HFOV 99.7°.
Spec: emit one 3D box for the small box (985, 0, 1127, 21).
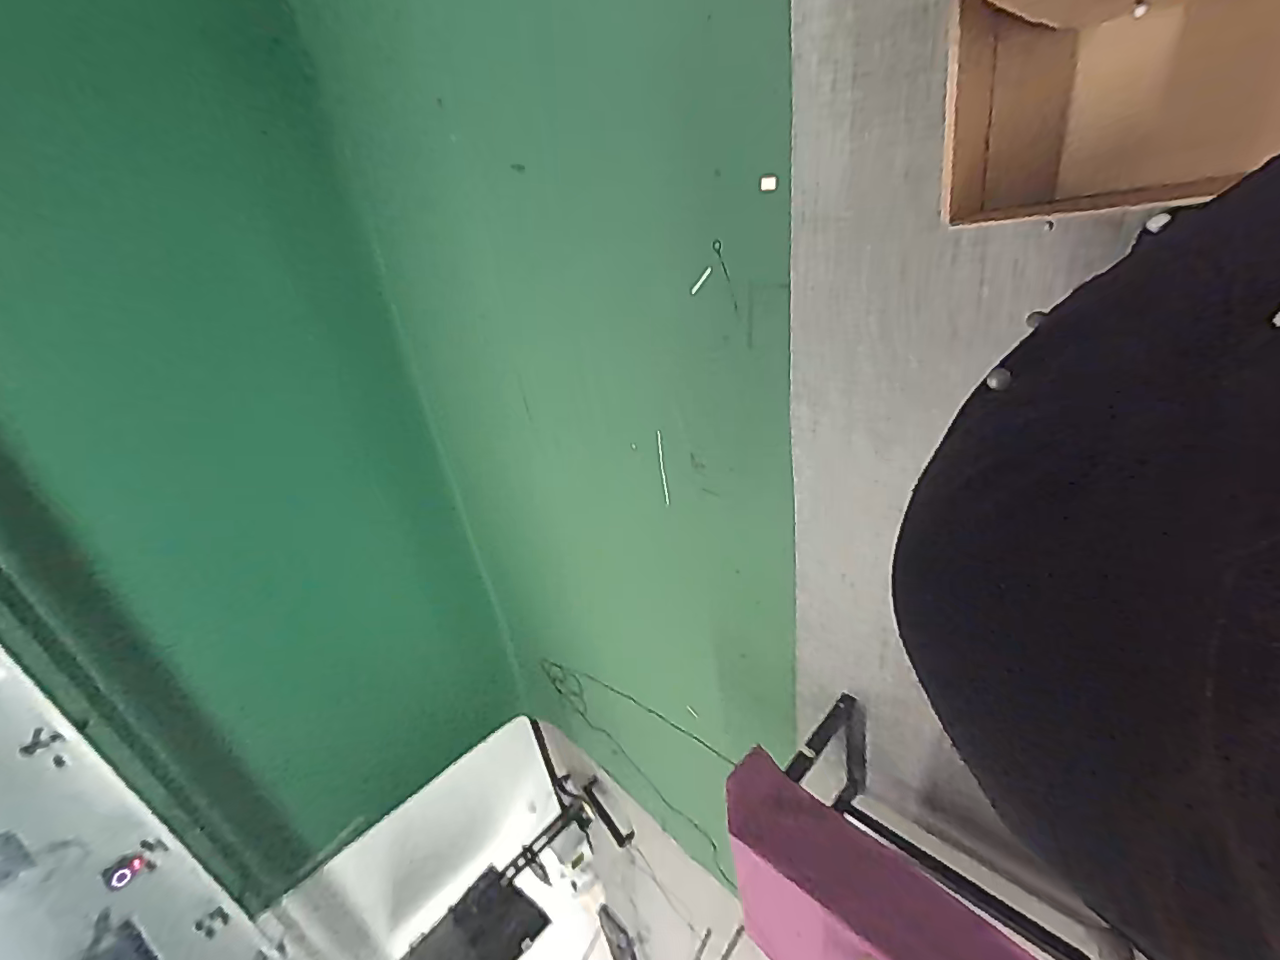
[{"bbox_3d":[0.411,-0.509,0.441,0.168,0.176,0.179,17,125,41],"label":"small box"}]
